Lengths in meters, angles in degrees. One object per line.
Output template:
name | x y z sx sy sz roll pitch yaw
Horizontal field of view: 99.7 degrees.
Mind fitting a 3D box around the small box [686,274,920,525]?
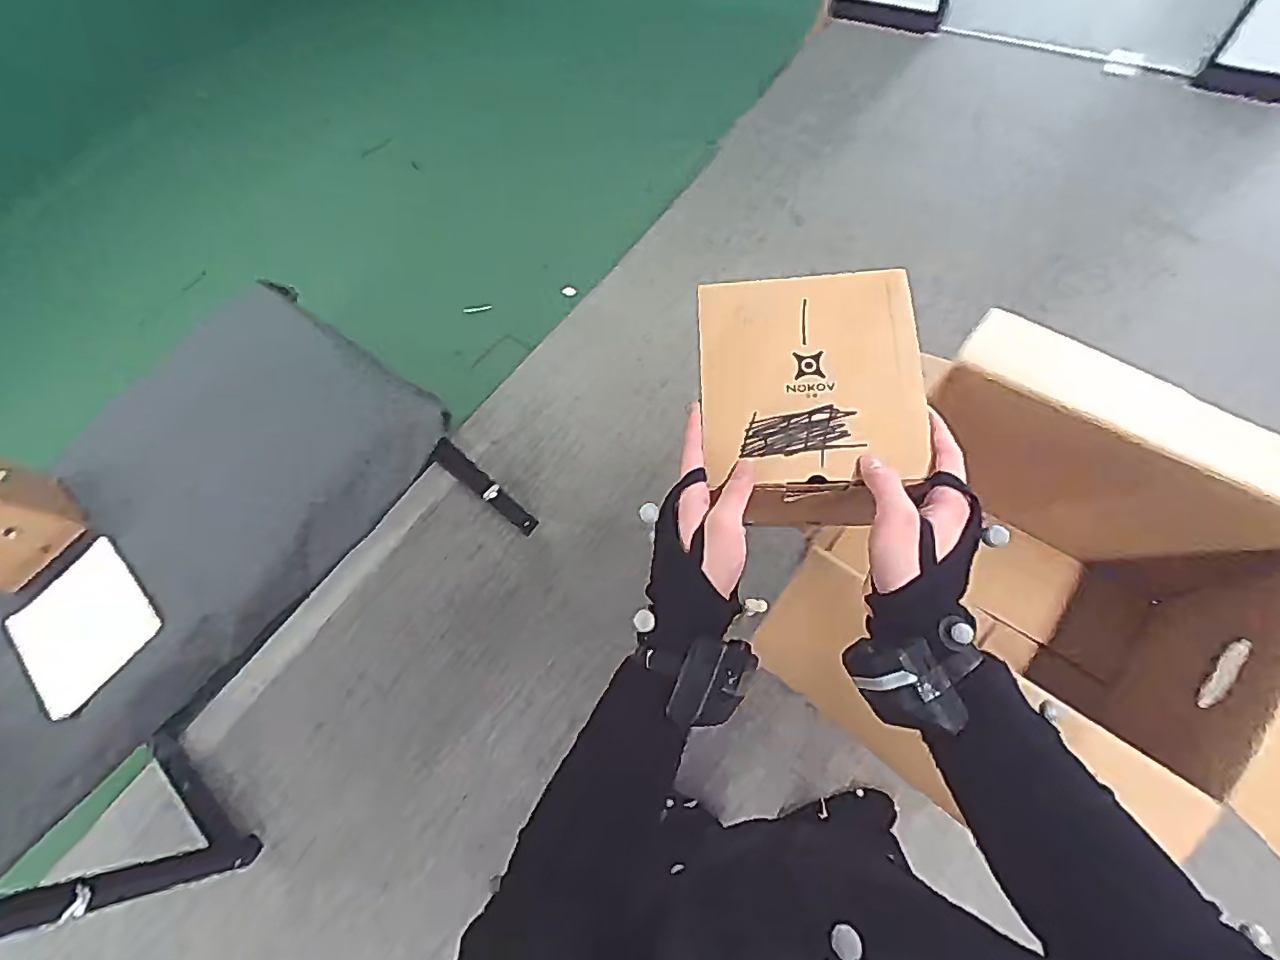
small box | 0.130 -0.056 0.492 0.168 0.176 0.179 -3 74 7

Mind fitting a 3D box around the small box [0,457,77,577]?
small box | -1.192 0.058 0.976 0.179 0.176 0.168 35 76 23
